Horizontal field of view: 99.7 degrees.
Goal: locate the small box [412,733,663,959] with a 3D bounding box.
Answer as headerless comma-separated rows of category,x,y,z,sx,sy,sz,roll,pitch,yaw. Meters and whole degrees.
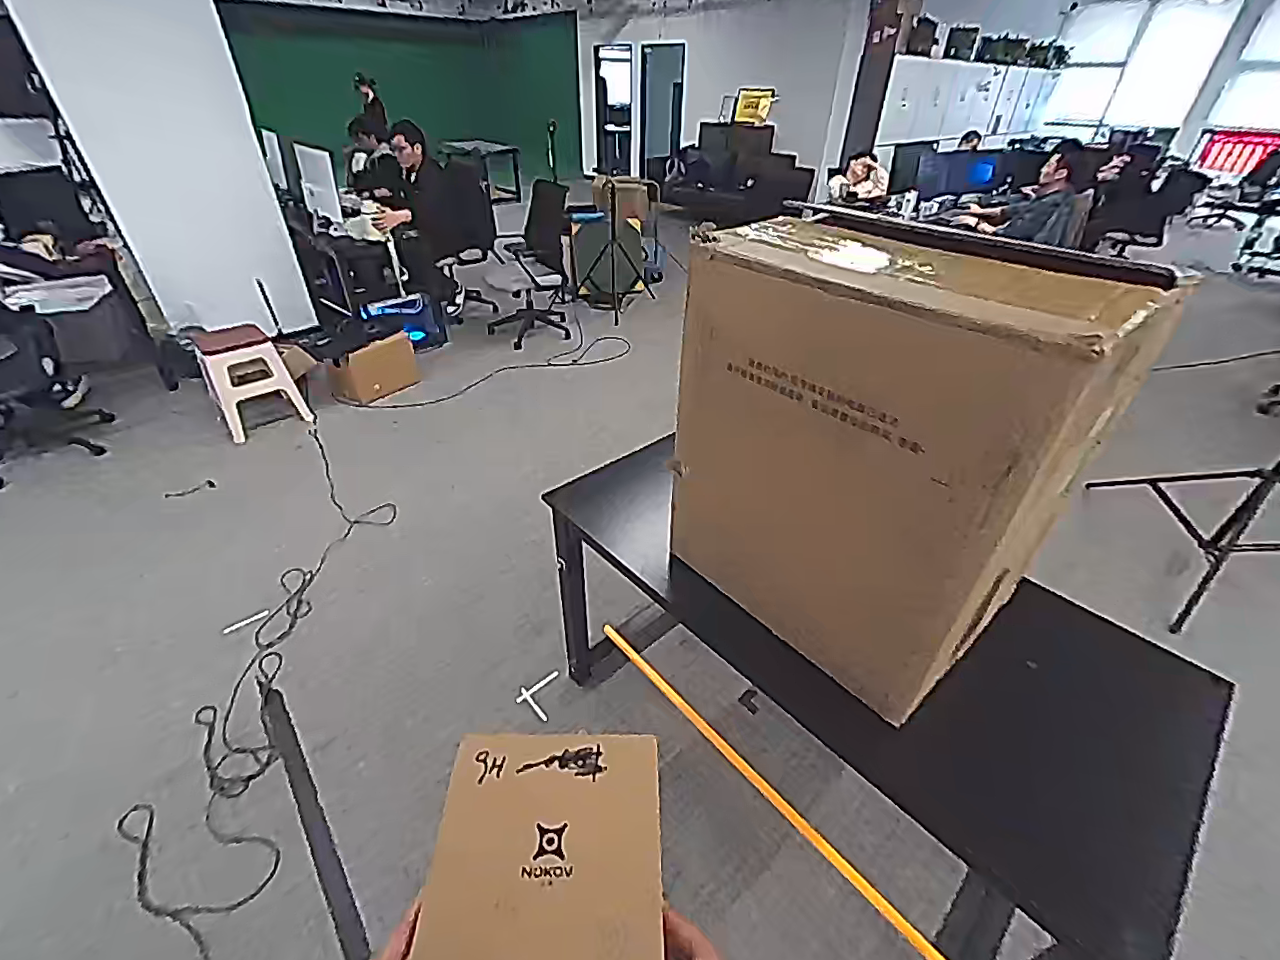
small box,-0.066,0.329,0.441,0.168,0.176,0.179,0,42,-1
